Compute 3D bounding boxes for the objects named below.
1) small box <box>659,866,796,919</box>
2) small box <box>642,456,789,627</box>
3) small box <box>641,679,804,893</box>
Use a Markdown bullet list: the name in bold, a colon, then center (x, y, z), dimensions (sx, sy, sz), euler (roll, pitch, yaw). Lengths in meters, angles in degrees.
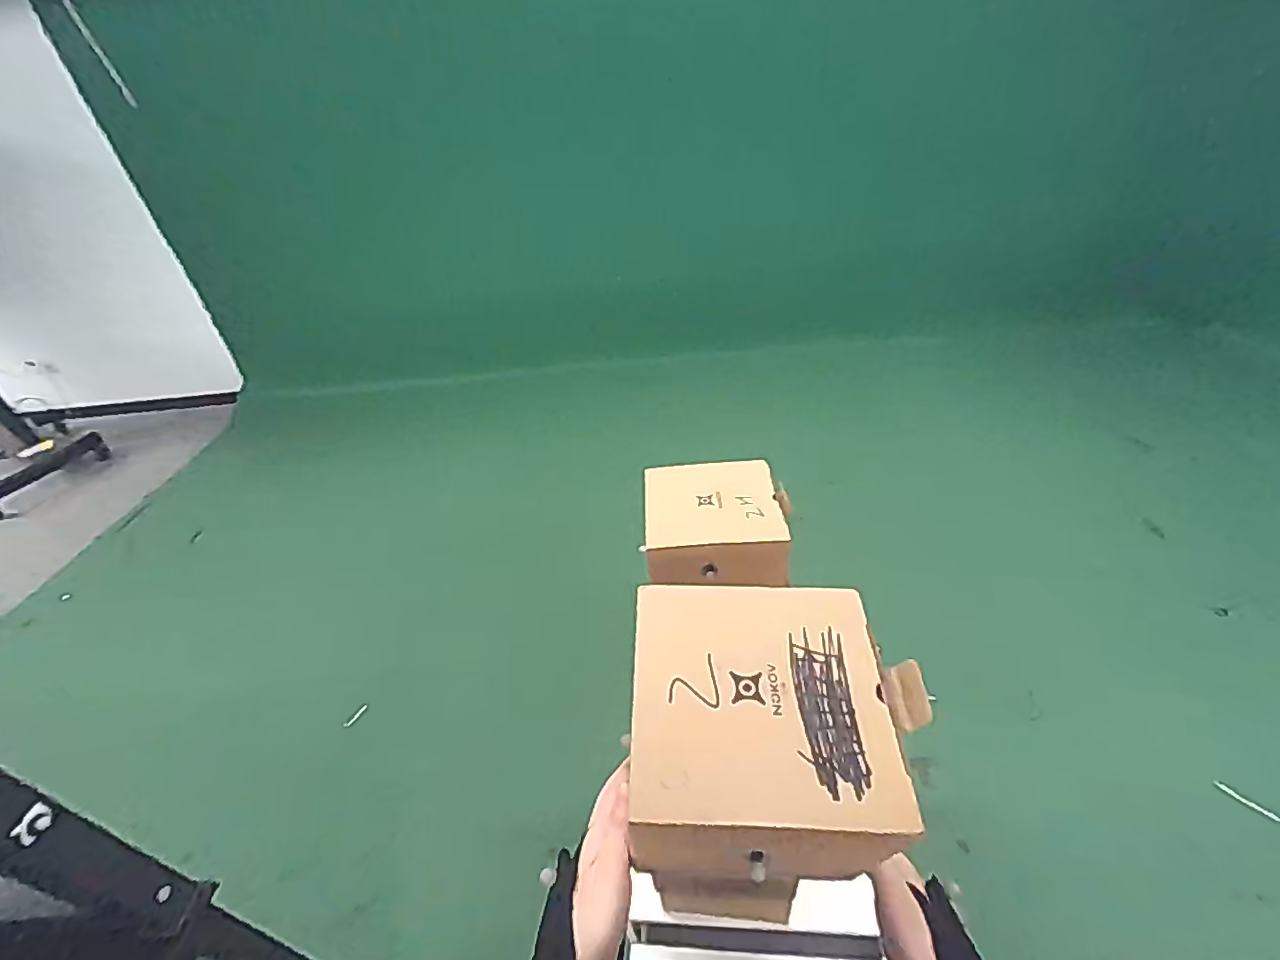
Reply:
- **small box**: center (0.117, 0.483, 0.757), dimensions (0.179, 0.176, 0.168), euler (0, 37, 8)
- **small box**: center (0.097, 0.086, 0.744), dimensions (0.179, 0.176, 0.168), euler (-3, 37, 3)
- **small box**: center (0.095, 0.364, 0.648), dimensions (0.168, 0.176, 0.179), euler (-1, 36, 6)
